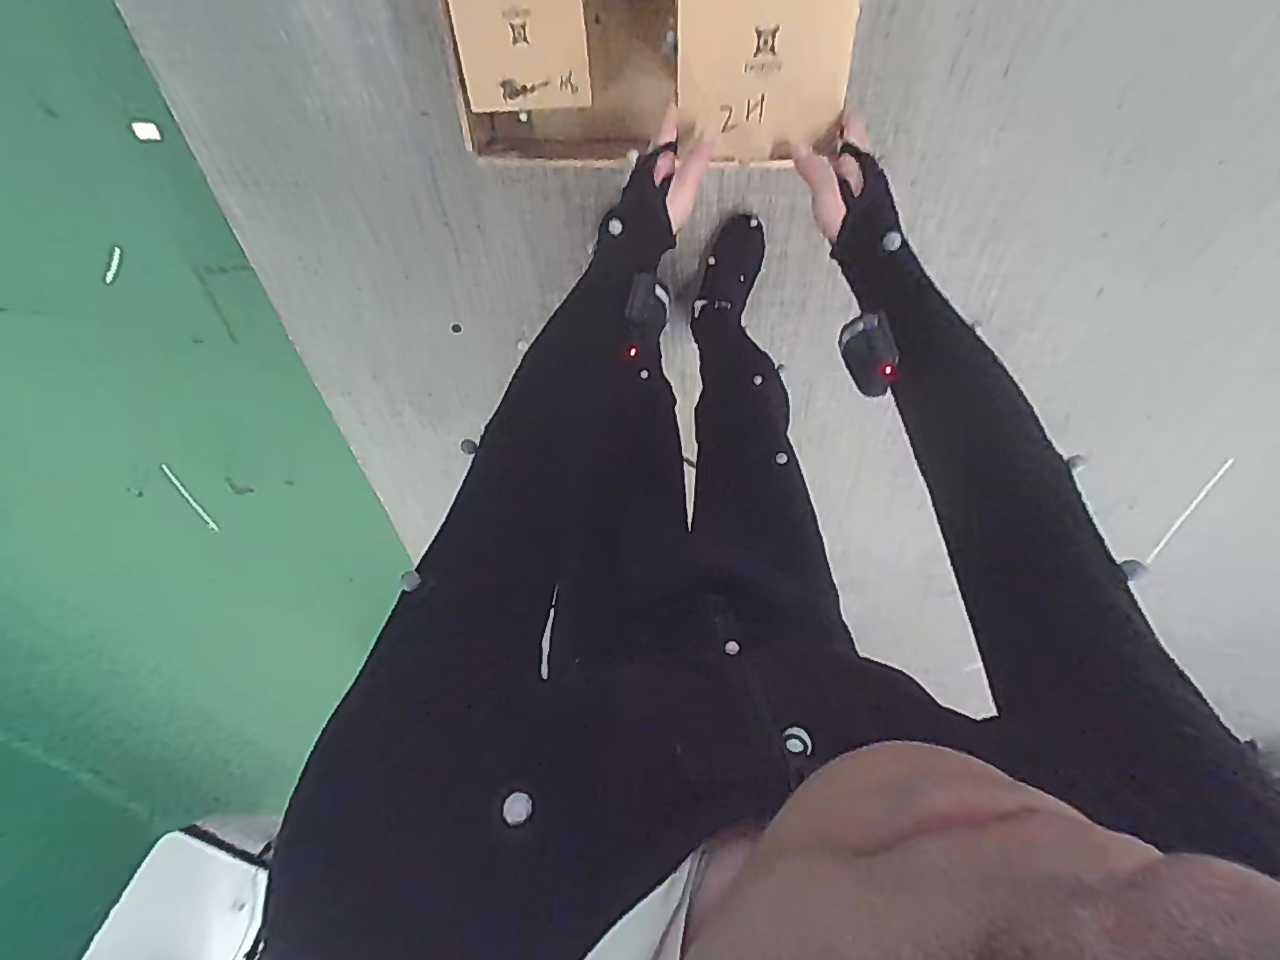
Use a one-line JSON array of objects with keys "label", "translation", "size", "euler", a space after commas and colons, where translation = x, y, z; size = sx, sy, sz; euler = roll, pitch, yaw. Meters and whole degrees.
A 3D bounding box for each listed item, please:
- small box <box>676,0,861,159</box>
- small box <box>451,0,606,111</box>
[{"label": "small box", "translation": [0.122, -0.446, 0.570], "size": [0.168, 0.176, 0.179], "euler": [1, 125, 5]}, {"label": "small box", "translation": [-0.141, -0.606, 0.722], "size": [0.168, 0.176, 0.179], "euler": [1, 129, 5]}]
